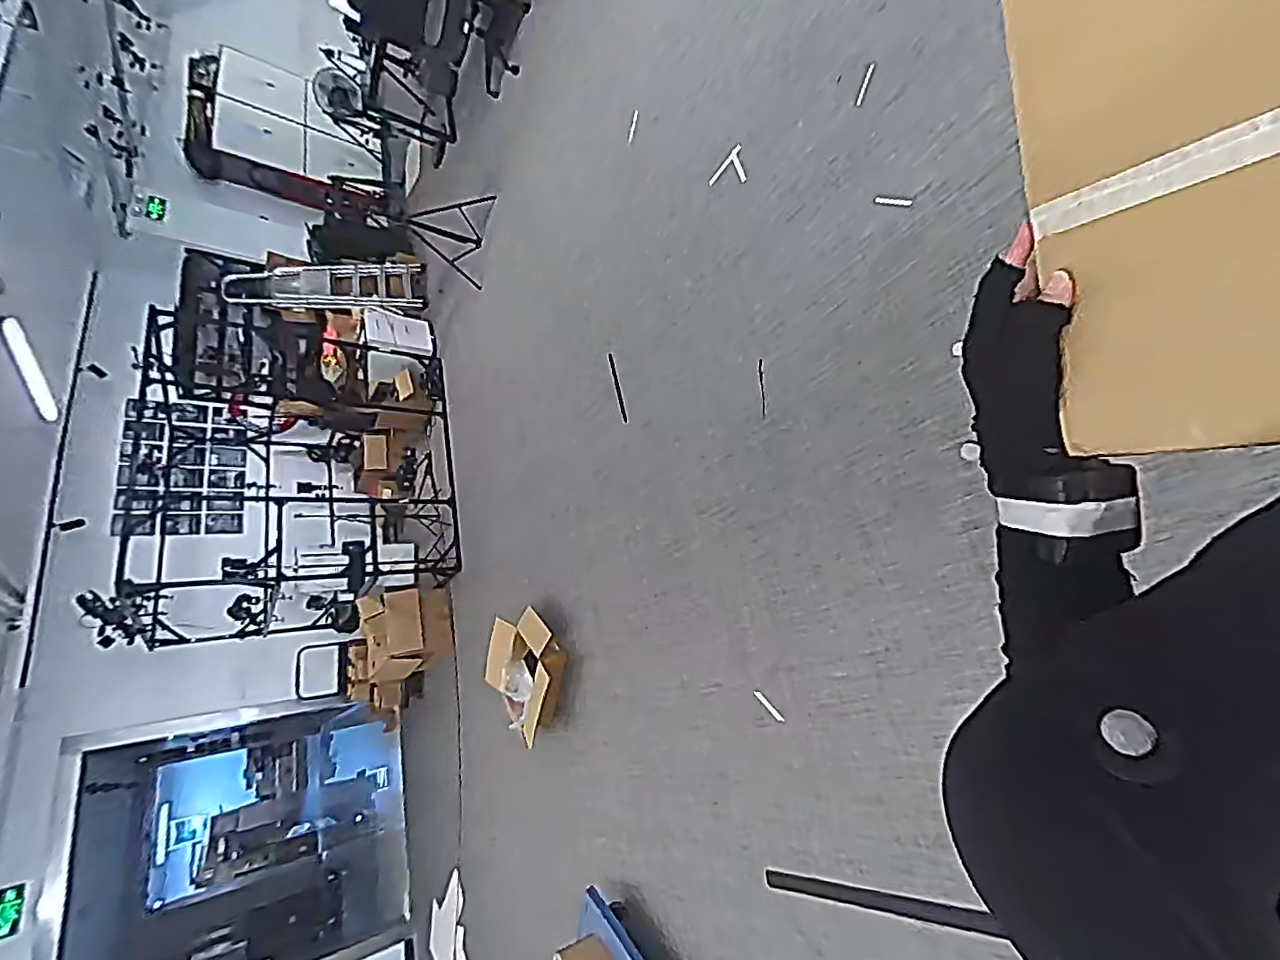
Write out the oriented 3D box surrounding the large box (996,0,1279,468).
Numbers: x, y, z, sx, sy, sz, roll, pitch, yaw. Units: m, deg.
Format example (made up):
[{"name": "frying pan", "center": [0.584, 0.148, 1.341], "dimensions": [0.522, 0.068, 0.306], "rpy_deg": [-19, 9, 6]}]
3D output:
[{"name": "large box", "center": [0.497, -0.199, 0.286], "dimensions": [0.408, 0.320, 0.320], "rpy_deg": [-7, 93, 56]}]
